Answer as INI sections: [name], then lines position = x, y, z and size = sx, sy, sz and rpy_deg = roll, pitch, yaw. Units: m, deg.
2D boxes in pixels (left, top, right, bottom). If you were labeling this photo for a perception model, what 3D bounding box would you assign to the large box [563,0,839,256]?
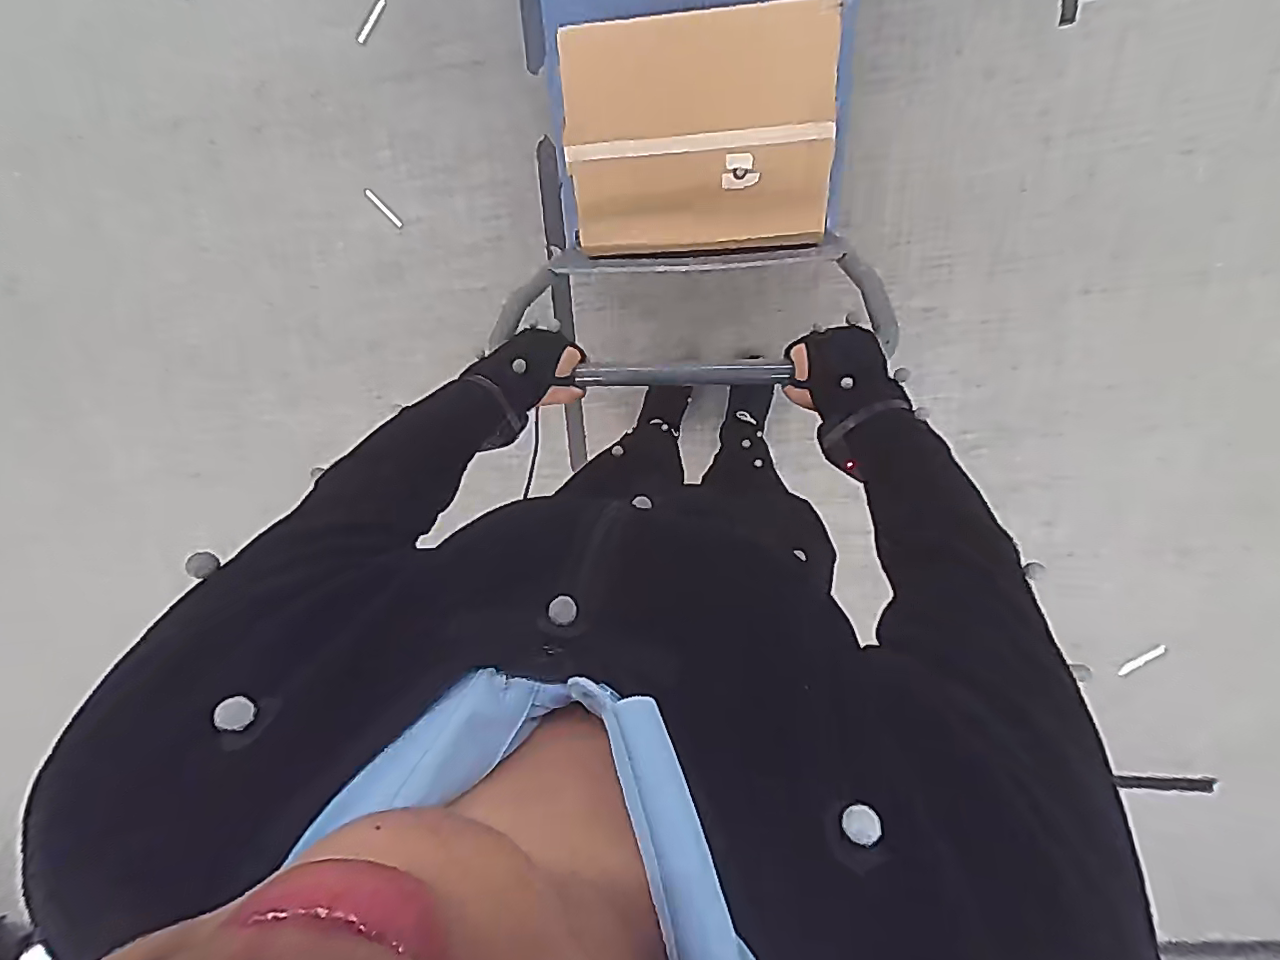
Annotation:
[large box]
position = 0.109, -0.603, 0.975
size = 0.408, 0.320, 0.320
rpy_deg = 0, 120, 8
